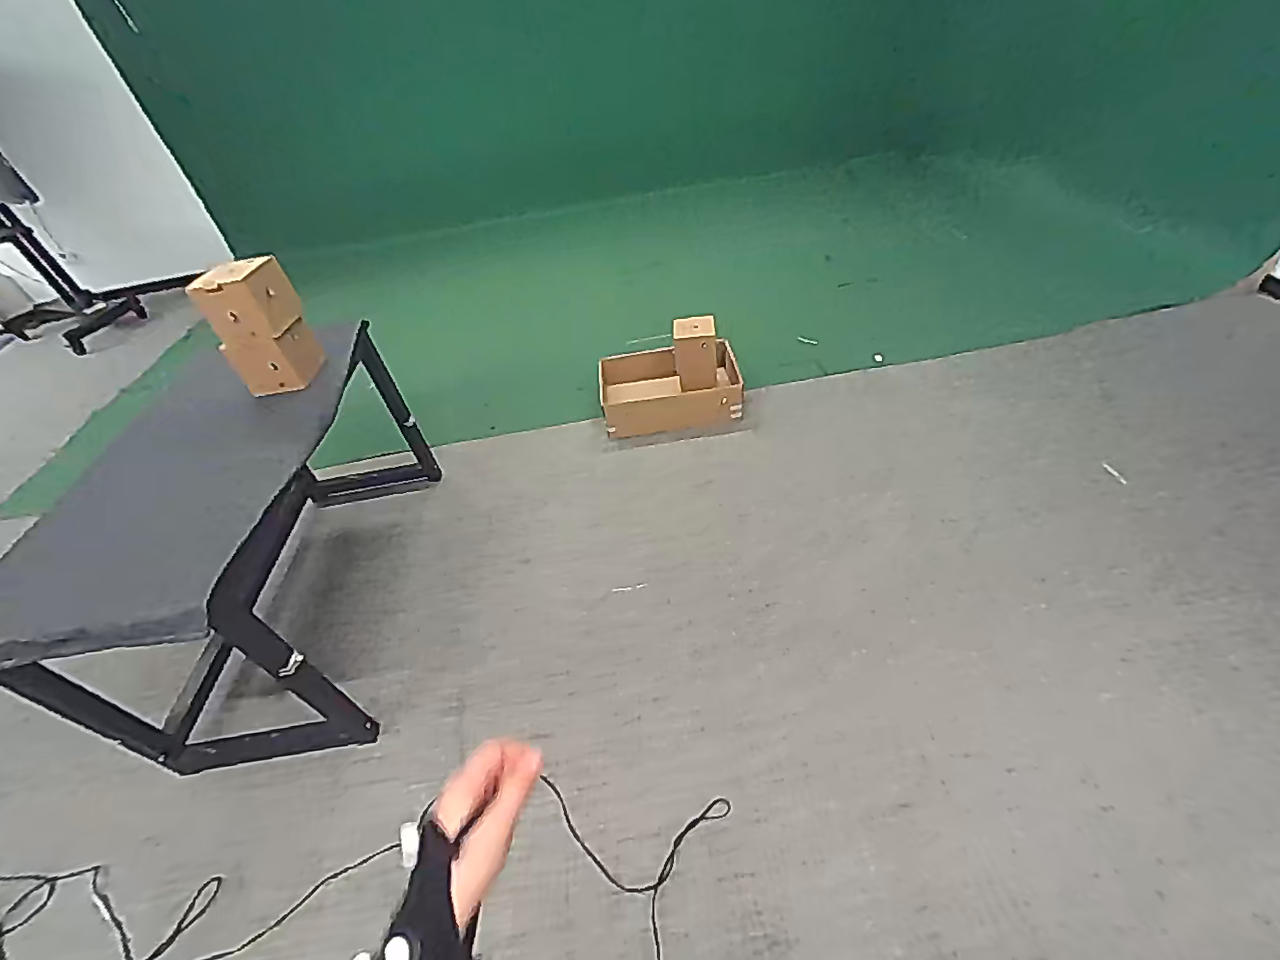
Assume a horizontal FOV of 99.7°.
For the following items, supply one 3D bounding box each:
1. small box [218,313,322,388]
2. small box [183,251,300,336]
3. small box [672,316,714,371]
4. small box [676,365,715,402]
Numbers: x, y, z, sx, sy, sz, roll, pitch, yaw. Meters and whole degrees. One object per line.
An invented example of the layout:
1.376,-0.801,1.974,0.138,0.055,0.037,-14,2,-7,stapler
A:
-1.094,-0.387,1.618,0.168,0.176,0.179,-7,42,3,small box
-1.100,-0.515,1.514,0.168,0.176,0.179,-5,44,5,small box
0.232,-0.591,2.346,0.179,0.176,0.168,-4,44,8,small box
0.253,-0.477,2.463,0.168,0.176,0.179,-4,45,7,small box
